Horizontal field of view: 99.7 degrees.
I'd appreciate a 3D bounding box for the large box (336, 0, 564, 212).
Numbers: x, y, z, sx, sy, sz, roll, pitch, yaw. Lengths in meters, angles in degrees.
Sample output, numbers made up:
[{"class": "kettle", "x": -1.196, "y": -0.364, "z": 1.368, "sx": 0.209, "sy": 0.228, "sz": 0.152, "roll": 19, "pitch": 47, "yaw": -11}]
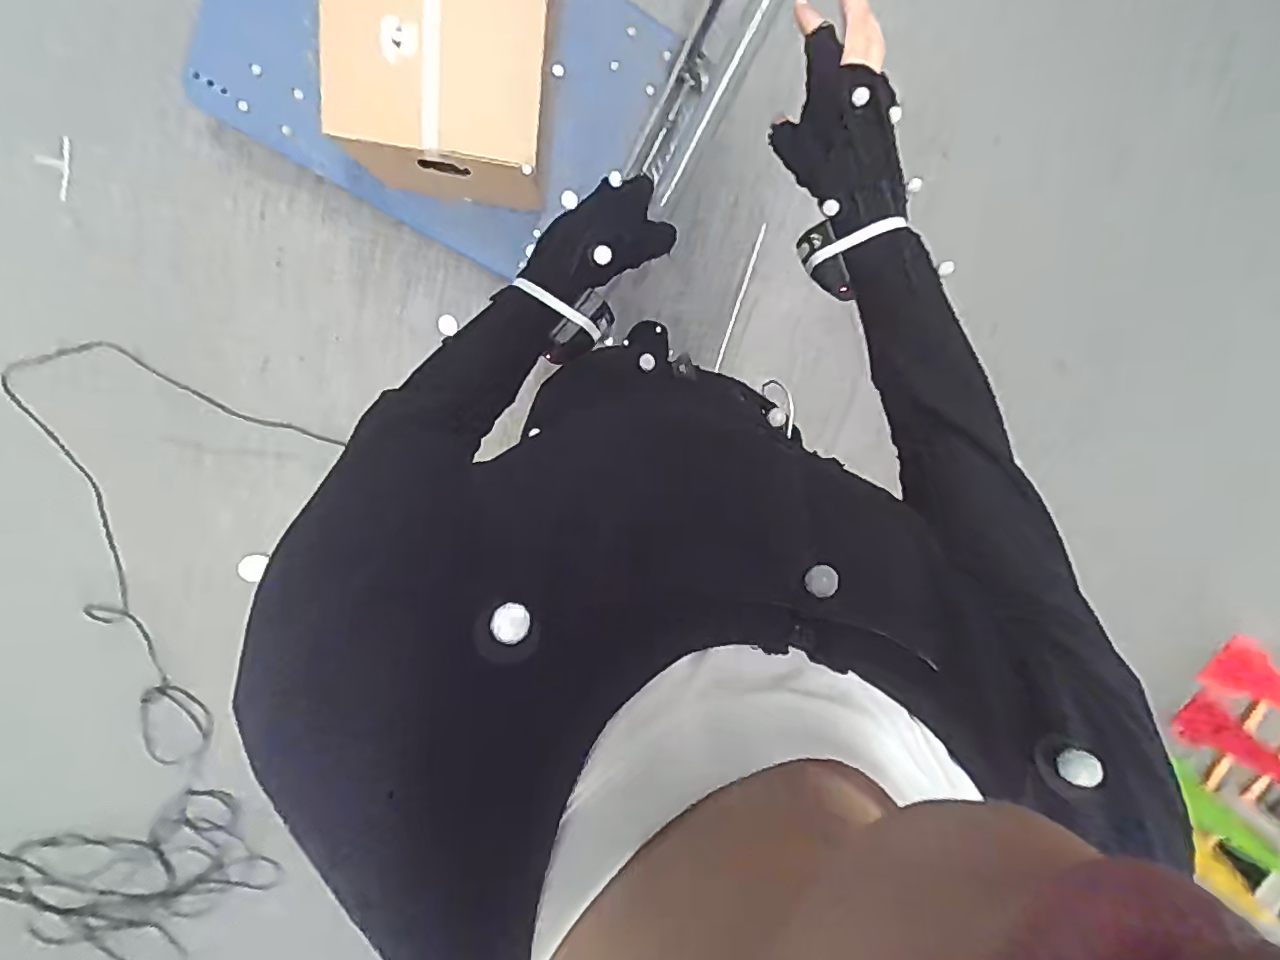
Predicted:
[{"class": "large box", "x": -0.298, "y": -0.728, "z": 0.928, "sx": 0.320, "sy": 0.320, "sz": 0.408, "roll": 6, "pitch": 105, "yaw": -7}]
